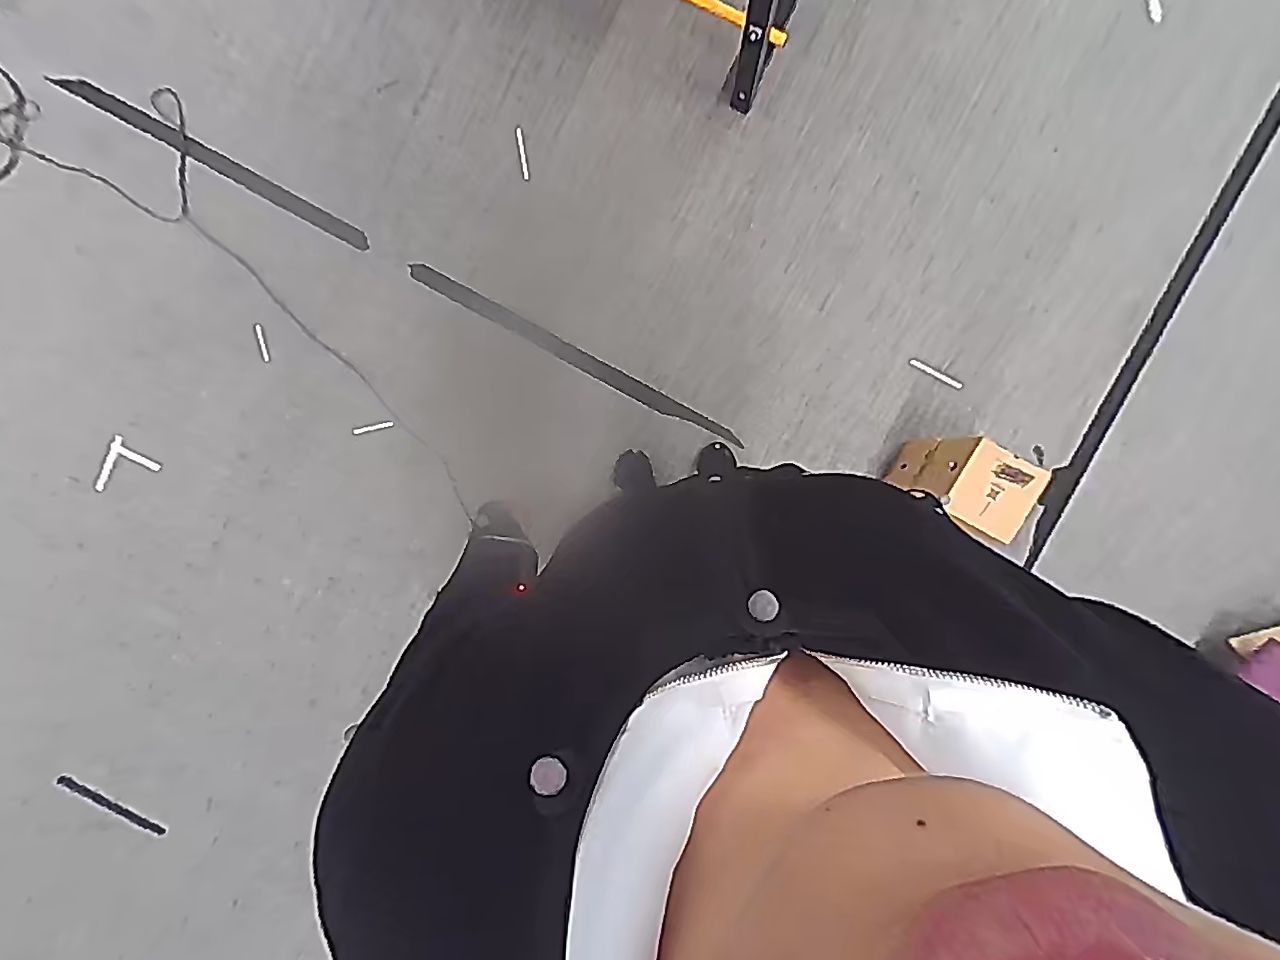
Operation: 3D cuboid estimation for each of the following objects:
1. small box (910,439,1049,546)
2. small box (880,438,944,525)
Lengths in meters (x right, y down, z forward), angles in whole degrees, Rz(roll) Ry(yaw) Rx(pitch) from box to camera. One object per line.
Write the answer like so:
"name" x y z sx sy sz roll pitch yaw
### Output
"small box" 0.746 0.022 1.212 0.168 0.176 0.179 29 94 1
"small box" 0.749 0.010 1.378 0.179 0.176 0.168 30 93 2
